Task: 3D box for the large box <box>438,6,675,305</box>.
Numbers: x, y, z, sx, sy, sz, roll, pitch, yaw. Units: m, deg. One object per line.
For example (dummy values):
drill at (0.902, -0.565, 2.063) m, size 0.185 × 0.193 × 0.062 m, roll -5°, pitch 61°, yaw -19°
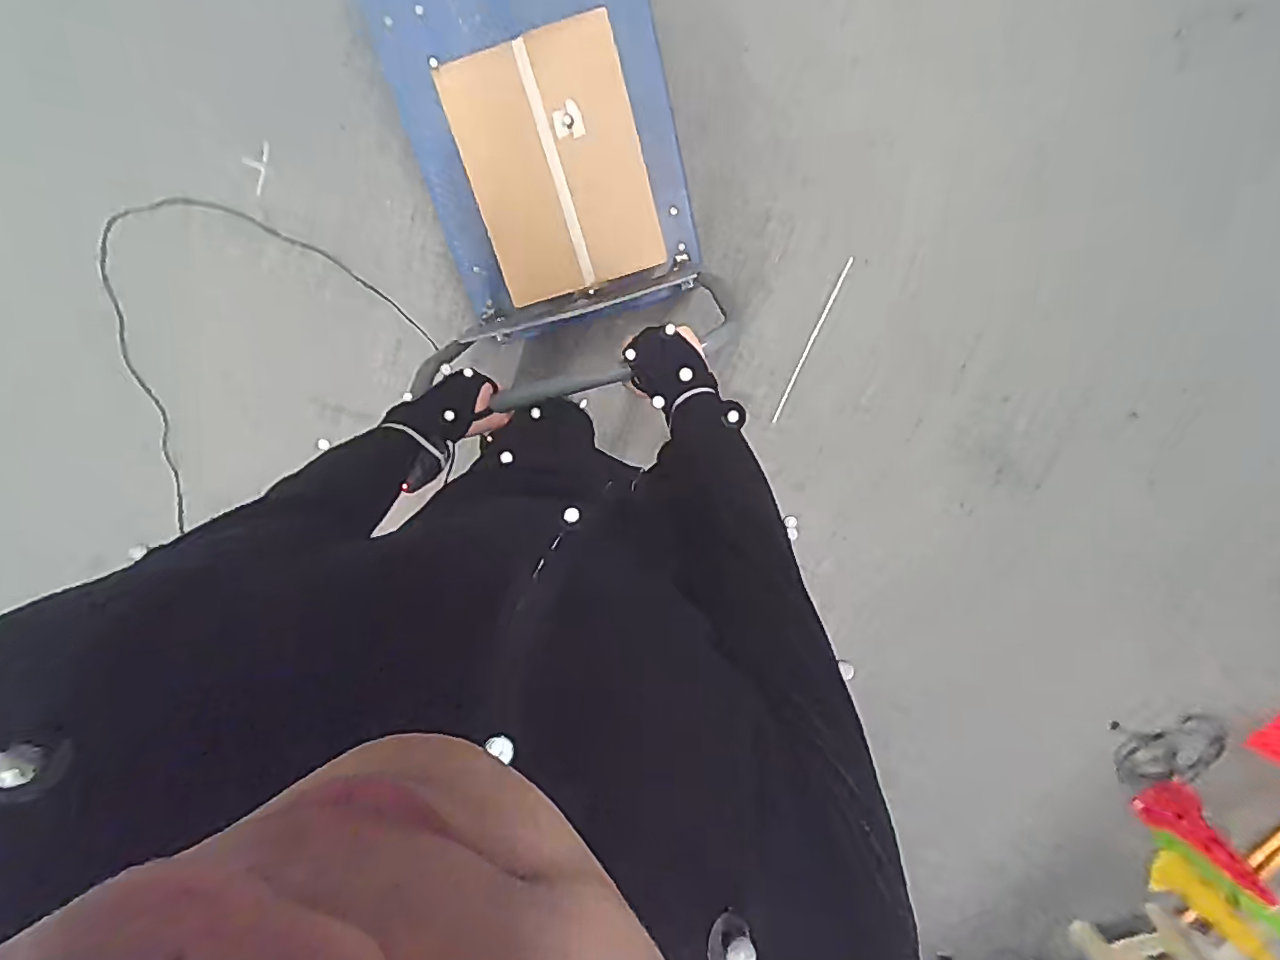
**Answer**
large box at (-0.135, -0.604, 1.095) m, size 0.320 × 0.320 × 0.408 m, roll -15°, pitch 110°, yaw 5°
